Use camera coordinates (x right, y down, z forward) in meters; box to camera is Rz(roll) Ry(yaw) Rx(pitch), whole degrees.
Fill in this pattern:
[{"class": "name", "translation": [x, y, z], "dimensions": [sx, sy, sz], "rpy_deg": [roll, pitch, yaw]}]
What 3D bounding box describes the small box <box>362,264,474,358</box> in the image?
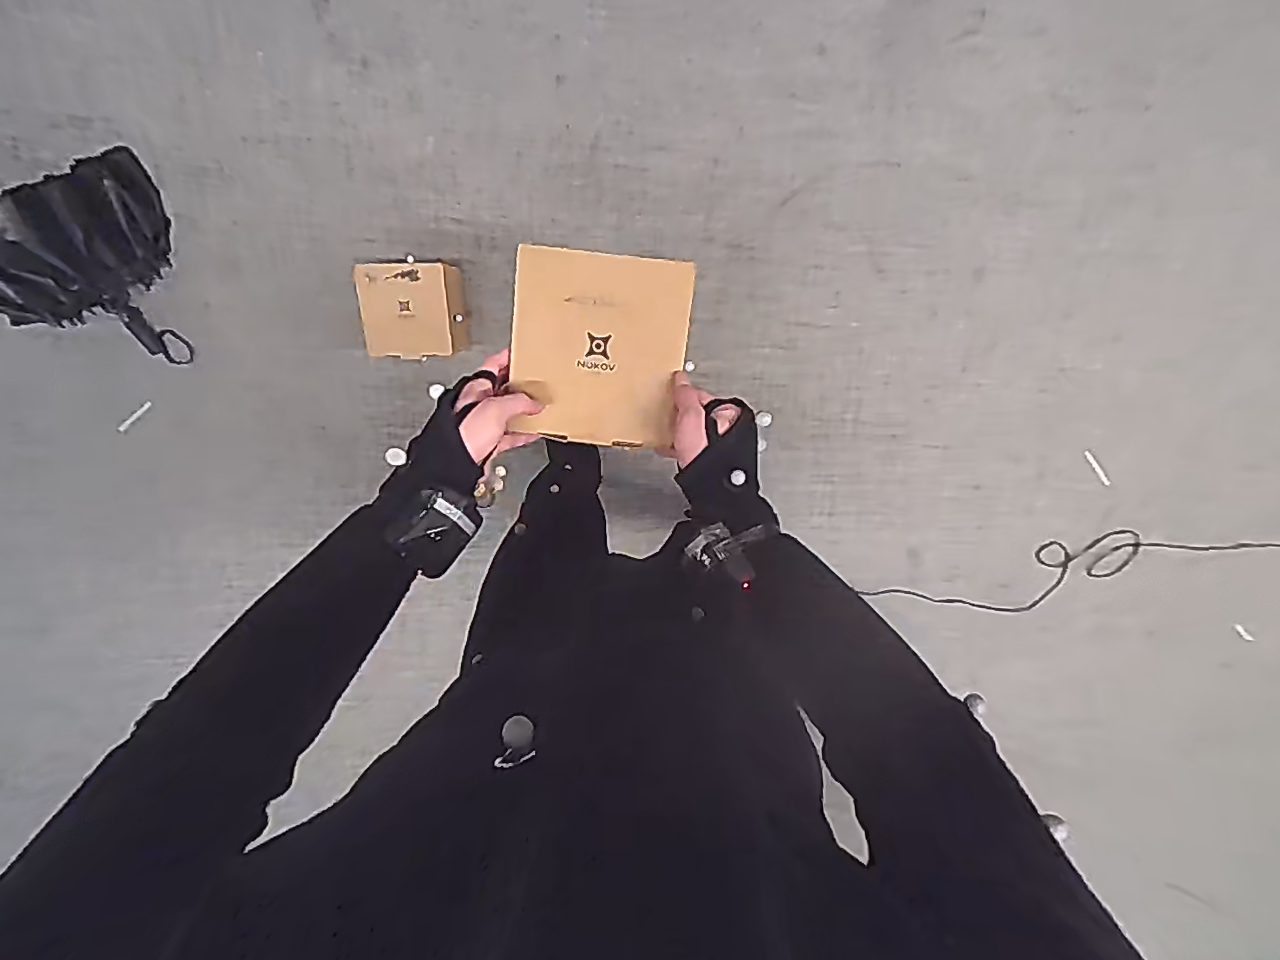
[{"class": "small box", "translation": [-0.454, -0.358, 1.136], "dimensions": [0.168, 0.176, 0.179], "rpy_deg": [-3, 109, -5]}]
